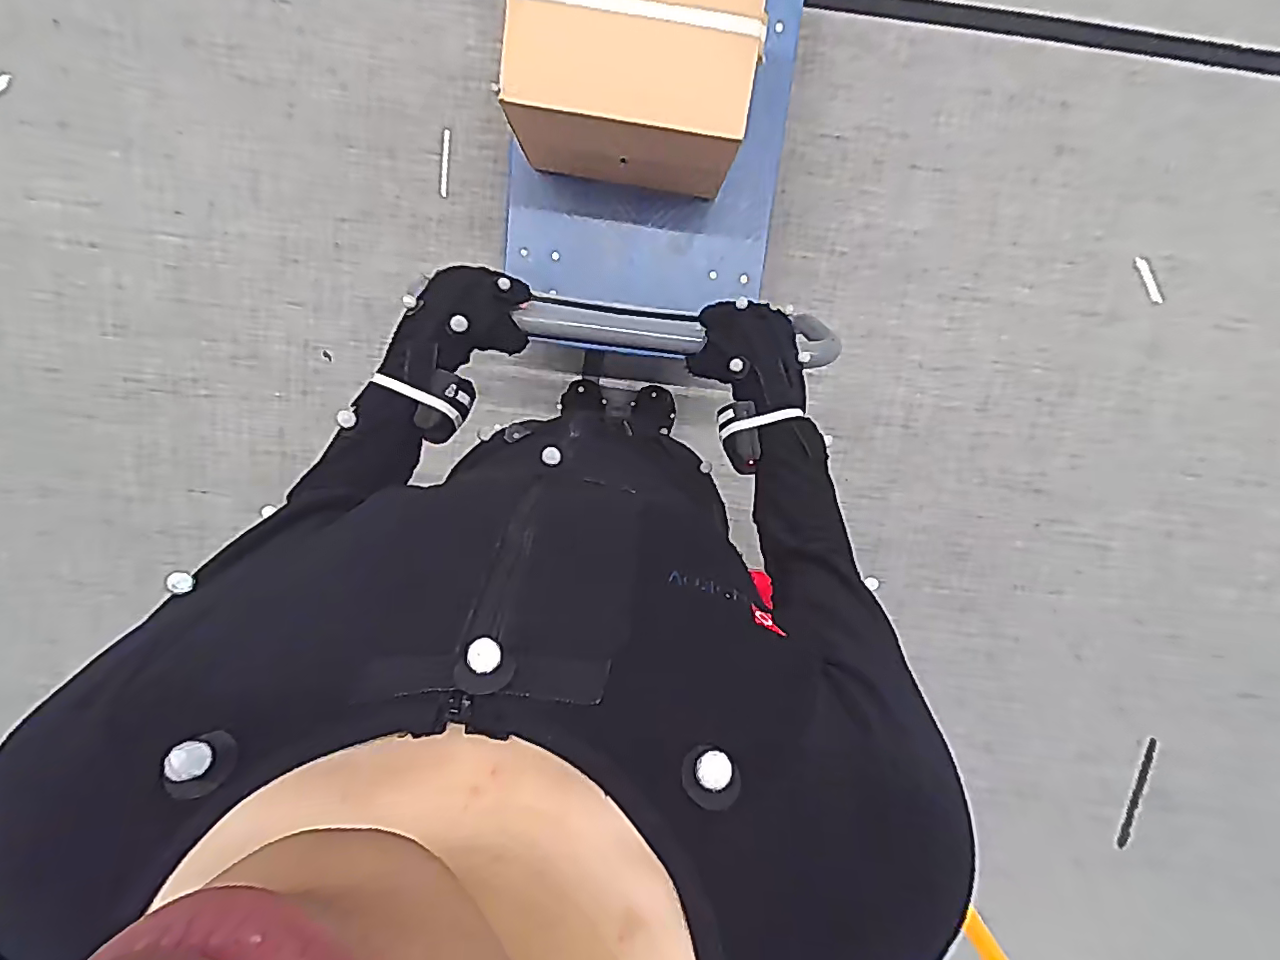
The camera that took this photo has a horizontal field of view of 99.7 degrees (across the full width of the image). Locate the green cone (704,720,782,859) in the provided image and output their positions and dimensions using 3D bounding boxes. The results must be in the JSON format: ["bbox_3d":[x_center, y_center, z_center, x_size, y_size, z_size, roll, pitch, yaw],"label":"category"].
[{"bbox_3d":[0.309,0.855,1.461,0.202,0.368,0.200,10,101,-4],"label":"green cone"}]

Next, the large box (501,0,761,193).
[{"bbox_3d":[-0.010,-0.762,1.002,0.408,0.320,0.320,8,101,-2],"label":"large box"}]

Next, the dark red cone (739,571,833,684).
[{"bbox_3d":[0.389,0.388,1.354,0.201,0.394,0.202,6,101,-3],"label":"dark red cone"}]
